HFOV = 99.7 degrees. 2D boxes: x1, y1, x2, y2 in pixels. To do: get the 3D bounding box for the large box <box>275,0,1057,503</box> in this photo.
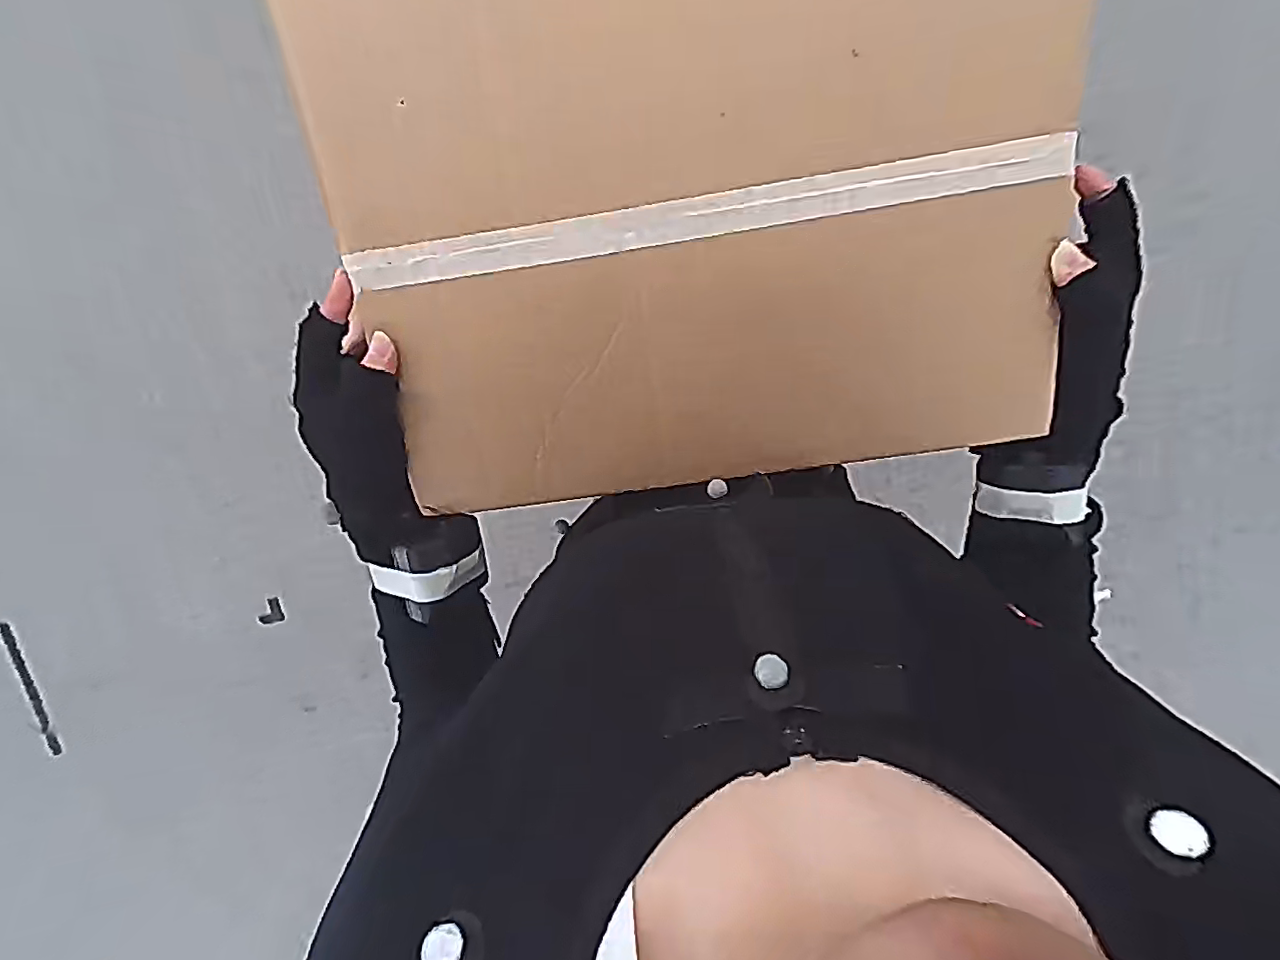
[{"bbox_3d":[0.030,-0.204,0.451,0.408,0.320,0.320,-8,108,3],"label":"large box"}]
